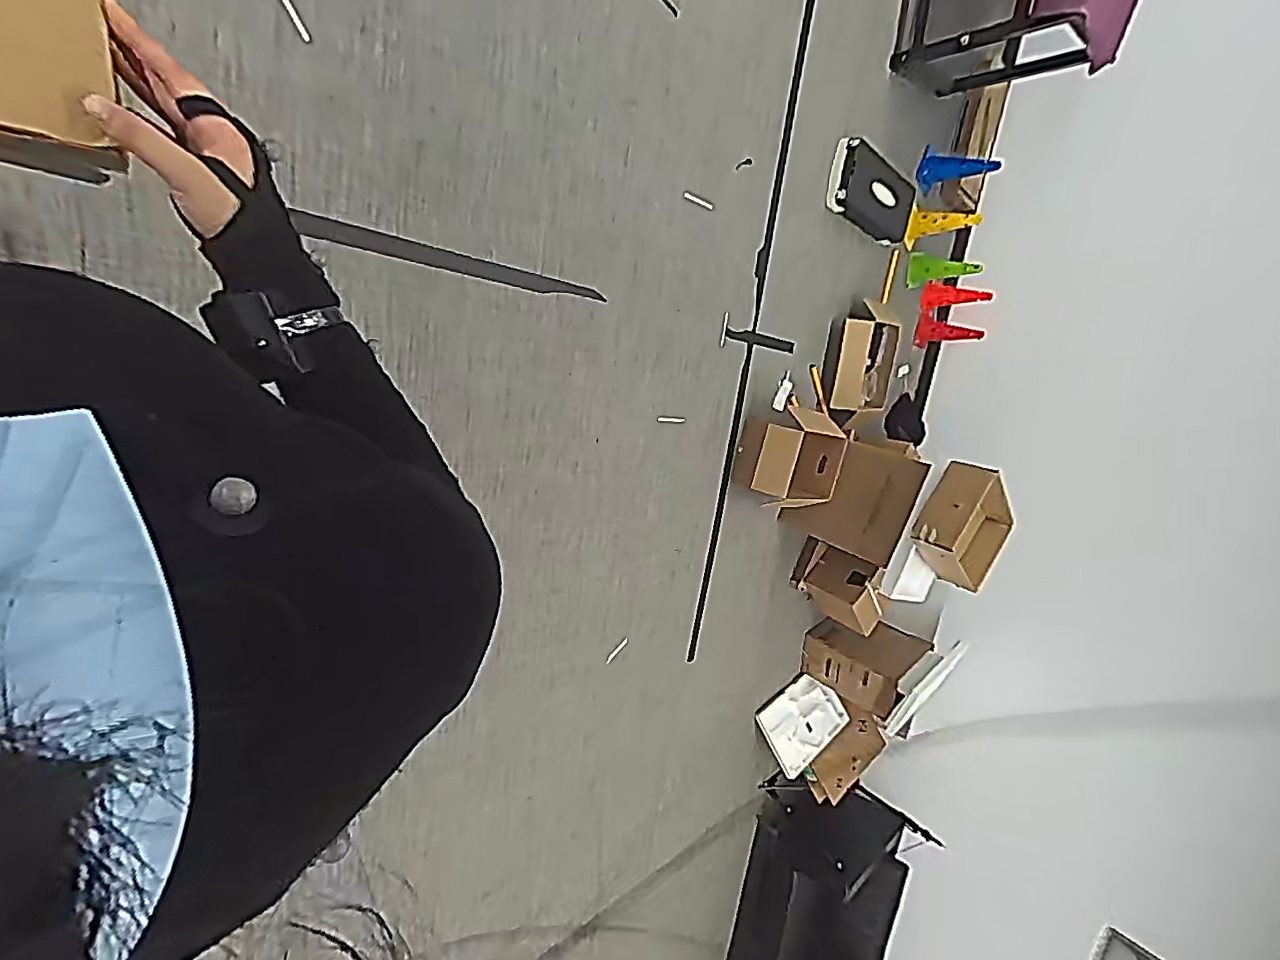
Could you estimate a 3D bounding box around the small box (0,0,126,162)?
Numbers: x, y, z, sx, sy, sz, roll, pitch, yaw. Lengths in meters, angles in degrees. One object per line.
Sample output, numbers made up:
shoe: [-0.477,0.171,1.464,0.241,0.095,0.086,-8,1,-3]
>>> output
small box: [-0.424,-0.310,0.316,0.168,0.176,0.179,-6,113,-40]
